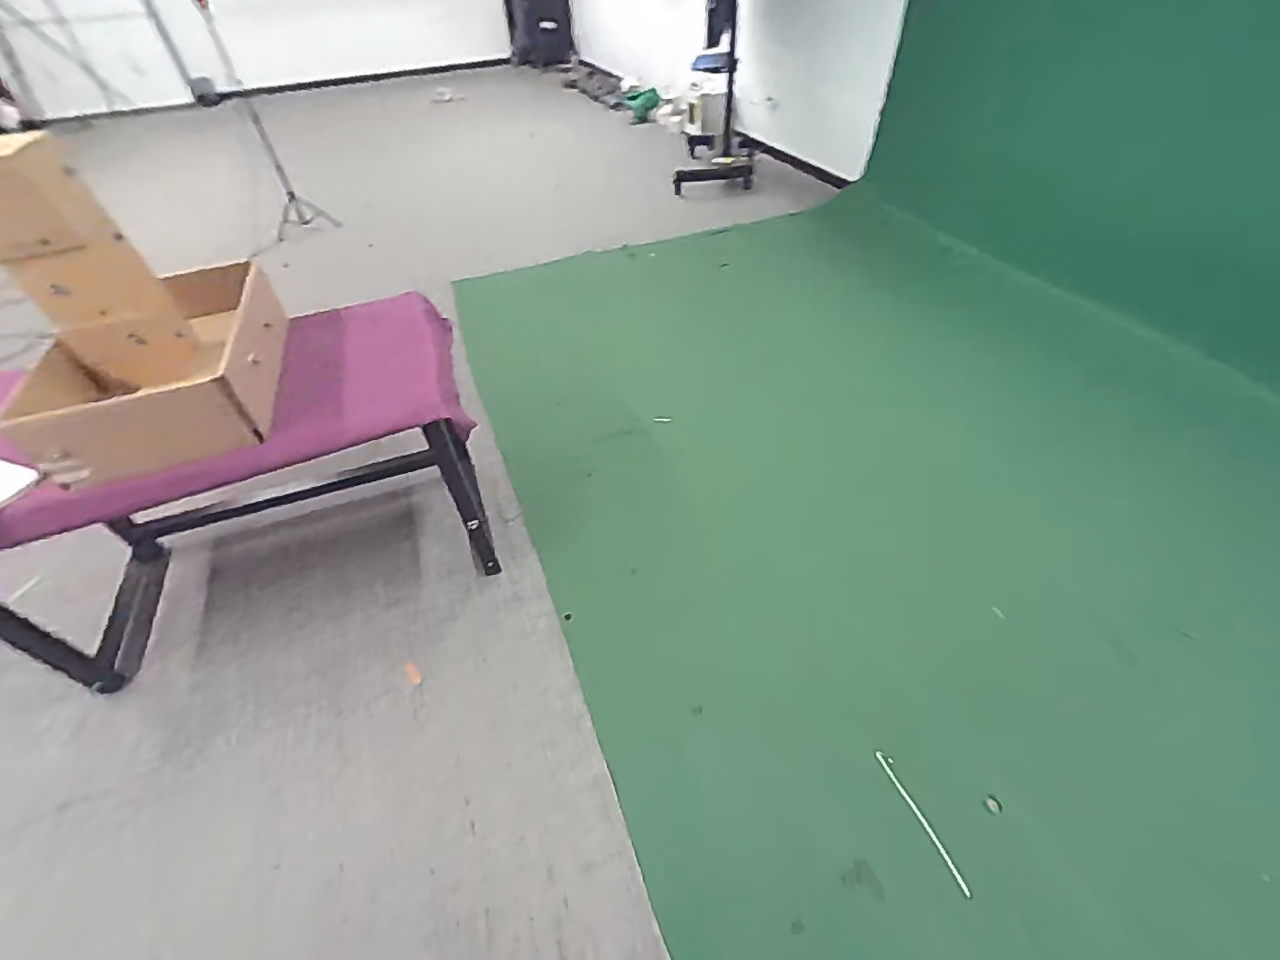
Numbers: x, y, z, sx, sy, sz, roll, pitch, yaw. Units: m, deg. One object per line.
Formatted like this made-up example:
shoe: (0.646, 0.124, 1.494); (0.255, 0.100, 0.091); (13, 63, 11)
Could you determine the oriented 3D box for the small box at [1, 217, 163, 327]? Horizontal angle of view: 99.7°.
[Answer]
small box: (-1.226, -0.458, 1.209); (0.168, 0.176, 0.179); (-15, 48, -11)
